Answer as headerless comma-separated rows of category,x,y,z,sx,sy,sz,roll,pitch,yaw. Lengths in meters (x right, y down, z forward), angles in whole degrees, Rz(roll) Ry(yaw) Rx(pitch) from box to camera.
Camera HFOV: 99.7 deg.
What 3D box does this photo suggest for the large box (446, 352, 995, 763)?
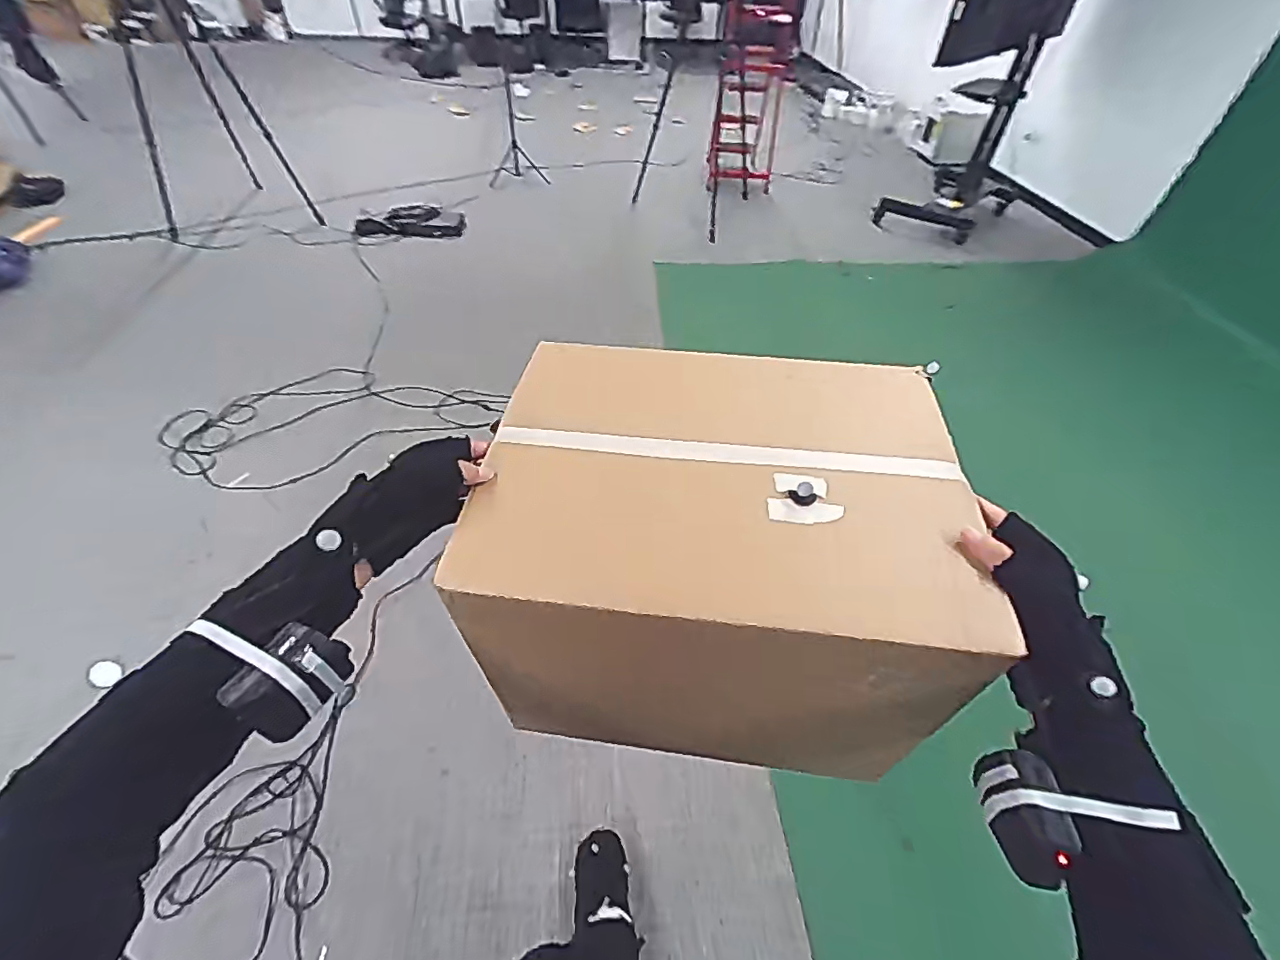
large box,0.065,0.084,0.595,0.408,0.320,0.320,5,48,5
